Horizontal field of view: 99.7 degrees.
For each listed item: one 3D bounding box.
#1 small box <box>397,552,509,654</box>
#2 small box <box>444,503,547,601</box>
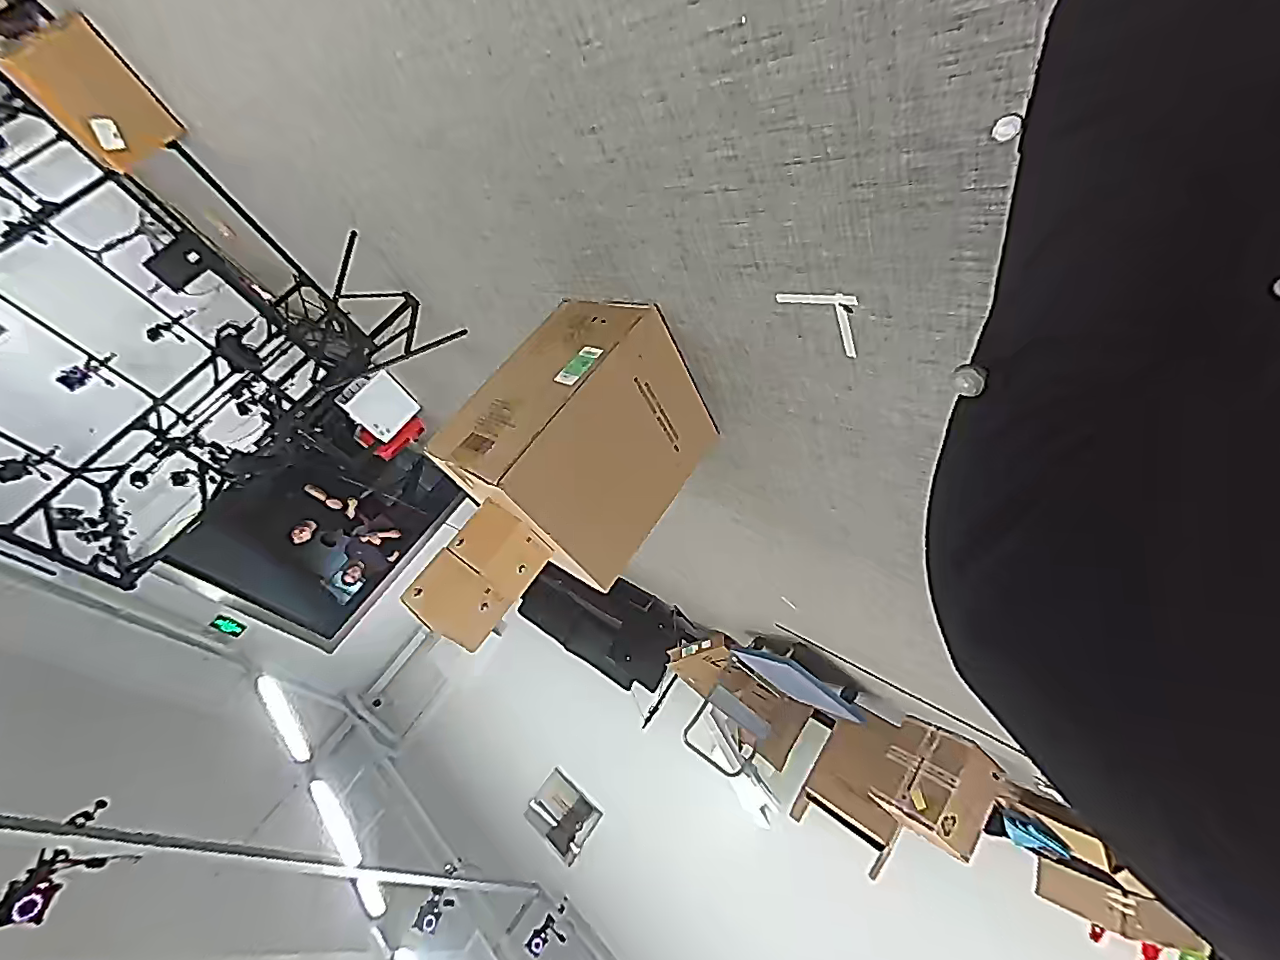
[{"bbox_3d":[-0.471,0.307,1.380,0.179,0.176,0.168,23,159,38],"label":"small box"},{"bbox_3d":[-0.370,0.185,1.427,0.179,0.176,0.168,22,158,40],"label":"small box"}]
